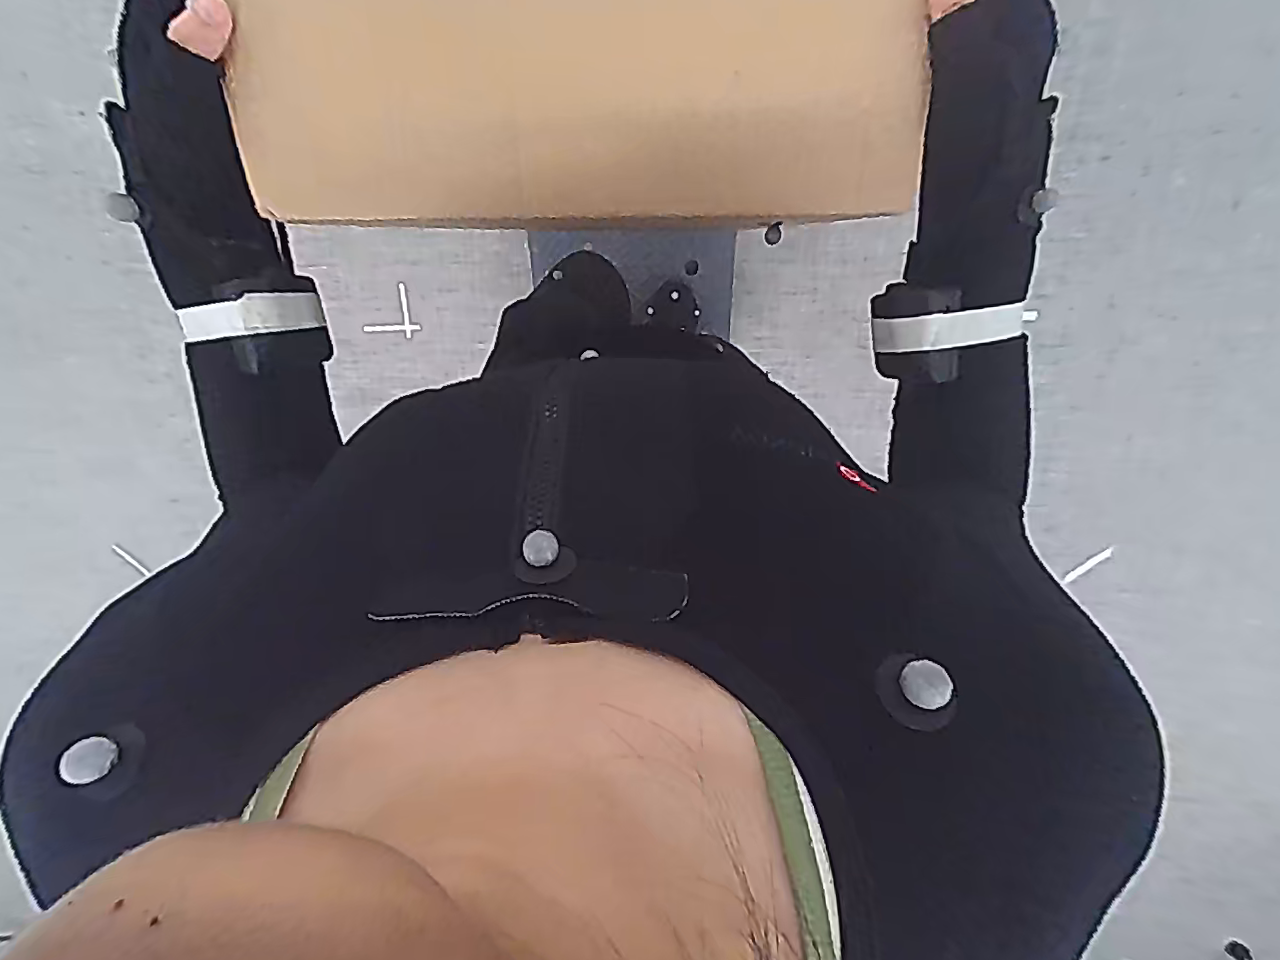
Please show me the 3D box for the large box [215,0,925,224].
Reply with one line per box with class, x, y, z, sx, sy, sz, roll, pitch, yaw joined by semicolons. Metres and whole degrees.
large box;-0.037;-0.373;0.419;0.408;0.320;0.320;-1;114;-1
